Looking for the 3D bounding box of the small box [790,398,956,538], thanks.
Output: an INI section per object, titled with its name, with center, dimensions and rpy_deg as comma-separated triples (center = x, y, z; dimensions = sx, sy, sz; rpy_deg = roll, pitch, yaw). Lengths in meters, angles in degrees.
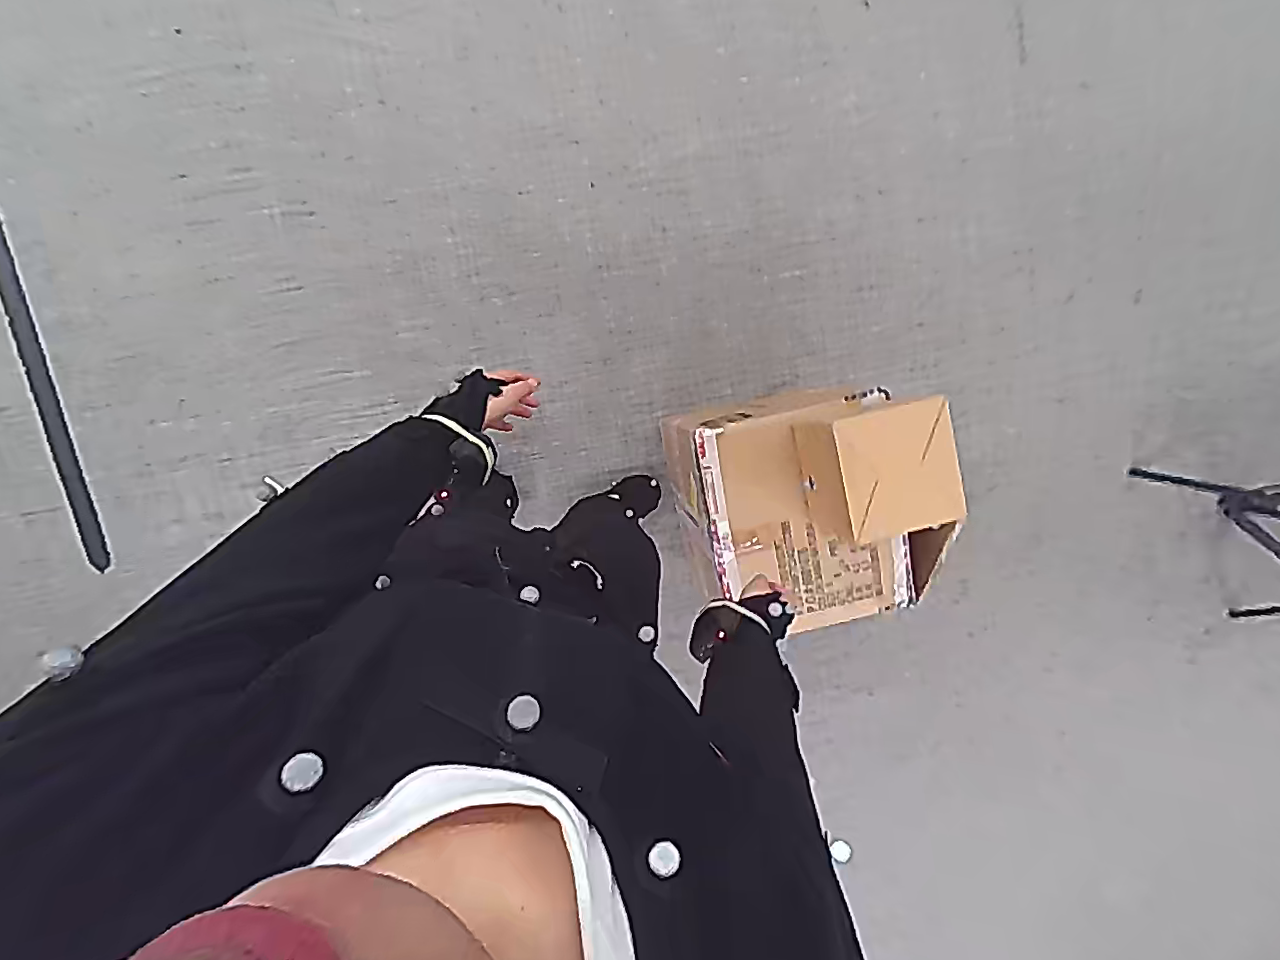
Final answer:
[small box]
center = 0.349, -0.021, 0.827
dimensions = 0.168, 0.176, 0.179
rpy_deg = -13, 97, -2
